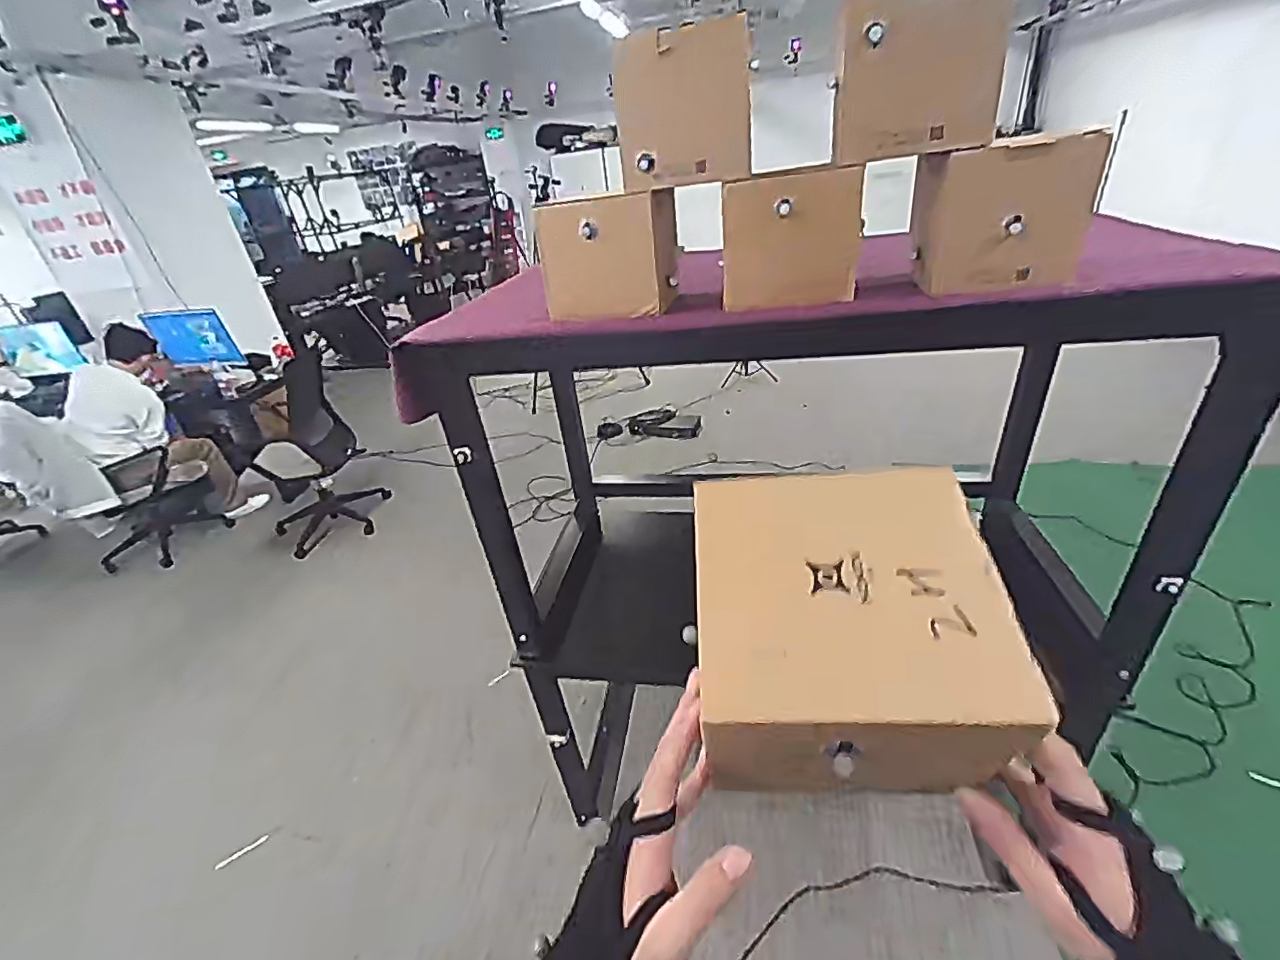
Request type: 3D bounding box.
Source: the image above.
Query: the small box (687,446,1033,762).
[{"bbox_3d":[0.130,0.096,0.393,0.179,0.176,0.168,-4,50,9],"label":"small box"}]

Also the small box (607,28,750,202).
[{"bbox_3d":[0.065,-0.488,0.751,0.168,0.176,0.179,-1,29,13],"label":"small box"}]

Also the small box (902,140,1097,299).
[{"bbox_3d":[0.464,-0.348,0.733,0.168,0.176,0.179,0,31,15],"label":"small box"}]

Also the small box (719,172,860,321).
[{"bbox_3d":[0.210,-0.341,0.790,0.179,0.176,0.168,-2,29,12],"label":"small box"}]

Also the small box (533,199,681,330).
[{"bbox_3d":[-0.041,-0.339,0.848,0.179,0.176,0.168,2,31,16],"label":"small box"}]
